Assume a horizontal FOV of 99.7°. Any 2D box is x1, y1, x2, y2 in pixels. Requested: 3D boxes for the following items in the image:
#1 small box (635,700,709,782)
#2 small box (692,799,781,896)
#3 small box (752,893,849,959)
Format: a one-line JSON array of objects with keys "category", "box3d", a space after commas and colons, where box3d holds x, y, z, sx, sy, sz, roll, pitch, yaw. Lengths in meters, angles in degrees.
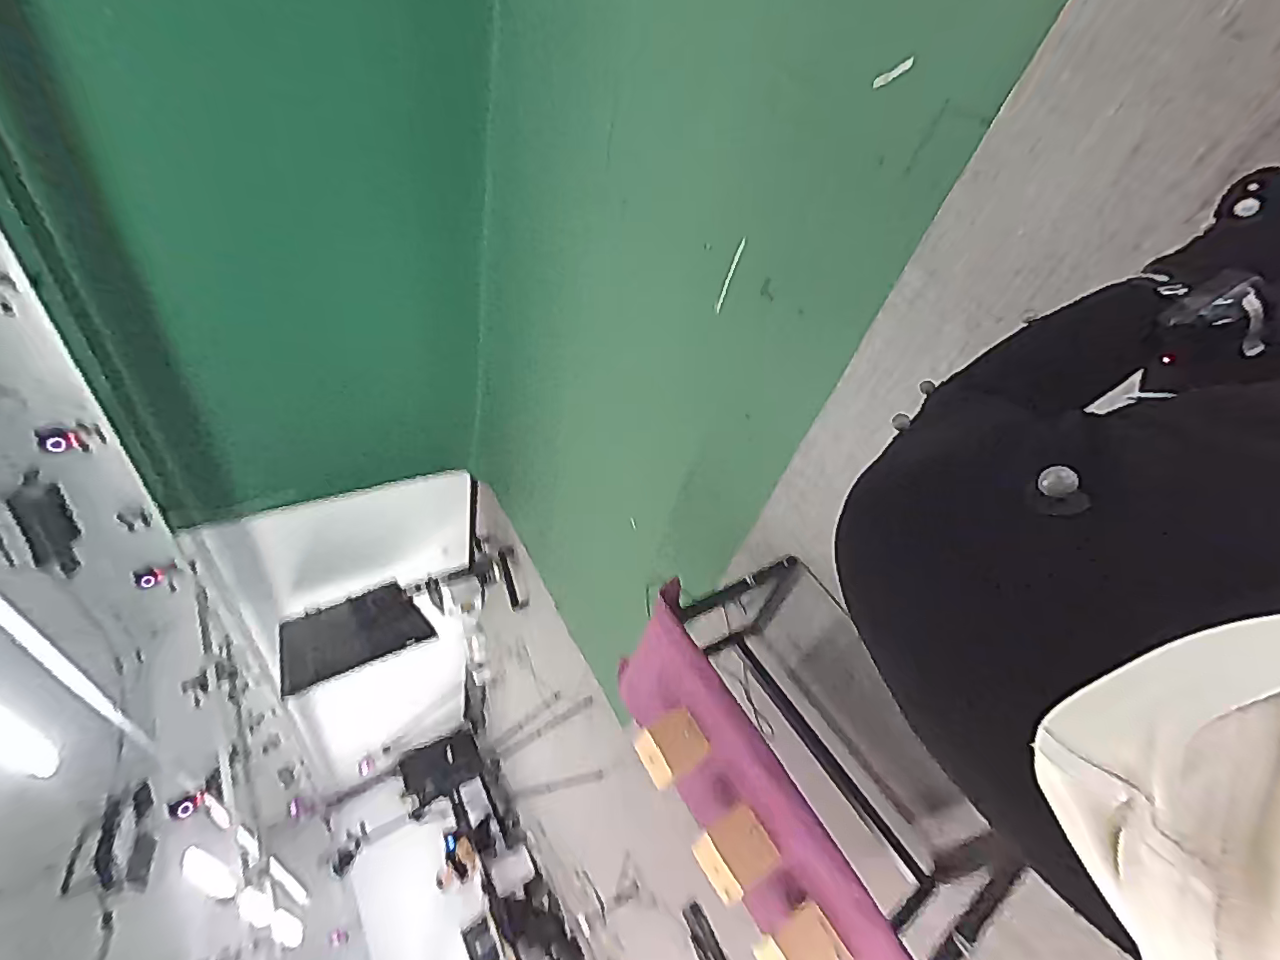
[{"category": "small box", "box3d": [0.109, 0.883, 1.836, 0.168, 0.176, 0.179, 53, 143, 29]}, {"category": "small box", "box3d": [0.294, 1.114, 1.656, 0.179, 0.176, 0.168, 49, 141, 34]}, {"category": "small box", "box3d": [0.447, 1.291, 1.497, 0.168, 0.176, 0.179, 50, 142, 34]}]
